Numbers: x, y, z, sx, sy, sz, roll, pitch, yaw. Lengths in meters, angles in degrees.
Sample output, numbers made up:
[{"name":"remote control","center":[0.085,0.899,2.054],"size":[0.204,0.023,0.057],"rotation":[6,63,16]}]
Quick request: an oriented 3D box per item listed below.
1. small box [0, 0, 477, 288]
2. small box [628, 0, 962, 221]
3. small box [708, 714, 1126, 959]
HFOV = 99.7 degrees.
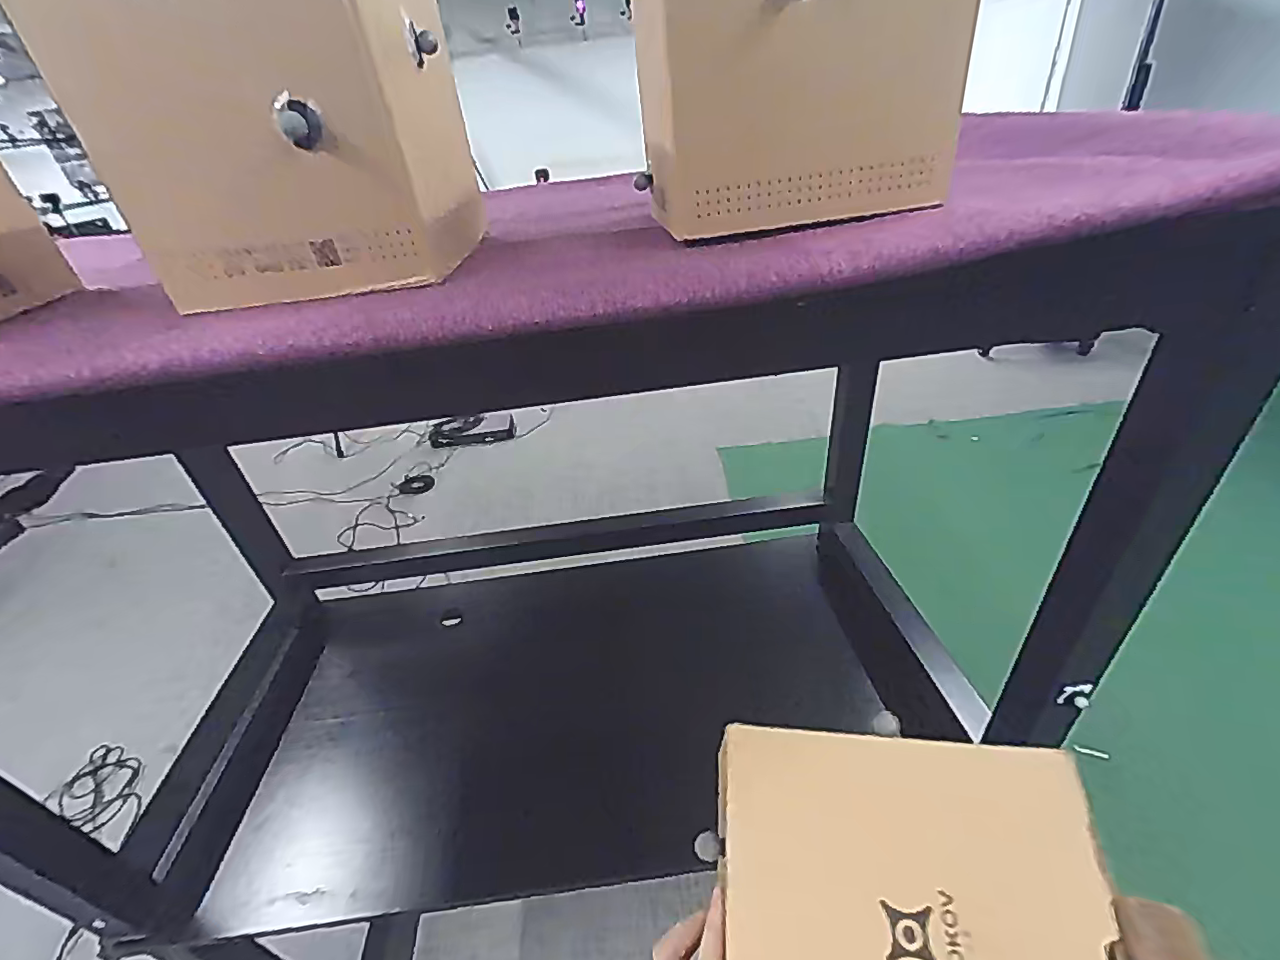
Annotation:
[{"name":"small box","center":[-0.218,-0.229,0.349],"size":[0.168,0.176,0.179],"rotation":[-6,34,0]},{"name":"small box","center":[0.090,-0.280,0.361],"size":[0.179,0.176,0.168],"rotation":[-8,32,-1]},{"name":"small box","center":[0.128,0.242,0.309],"size":[0.179,0.176,0.168],"rotation":[1,58,6]}]
